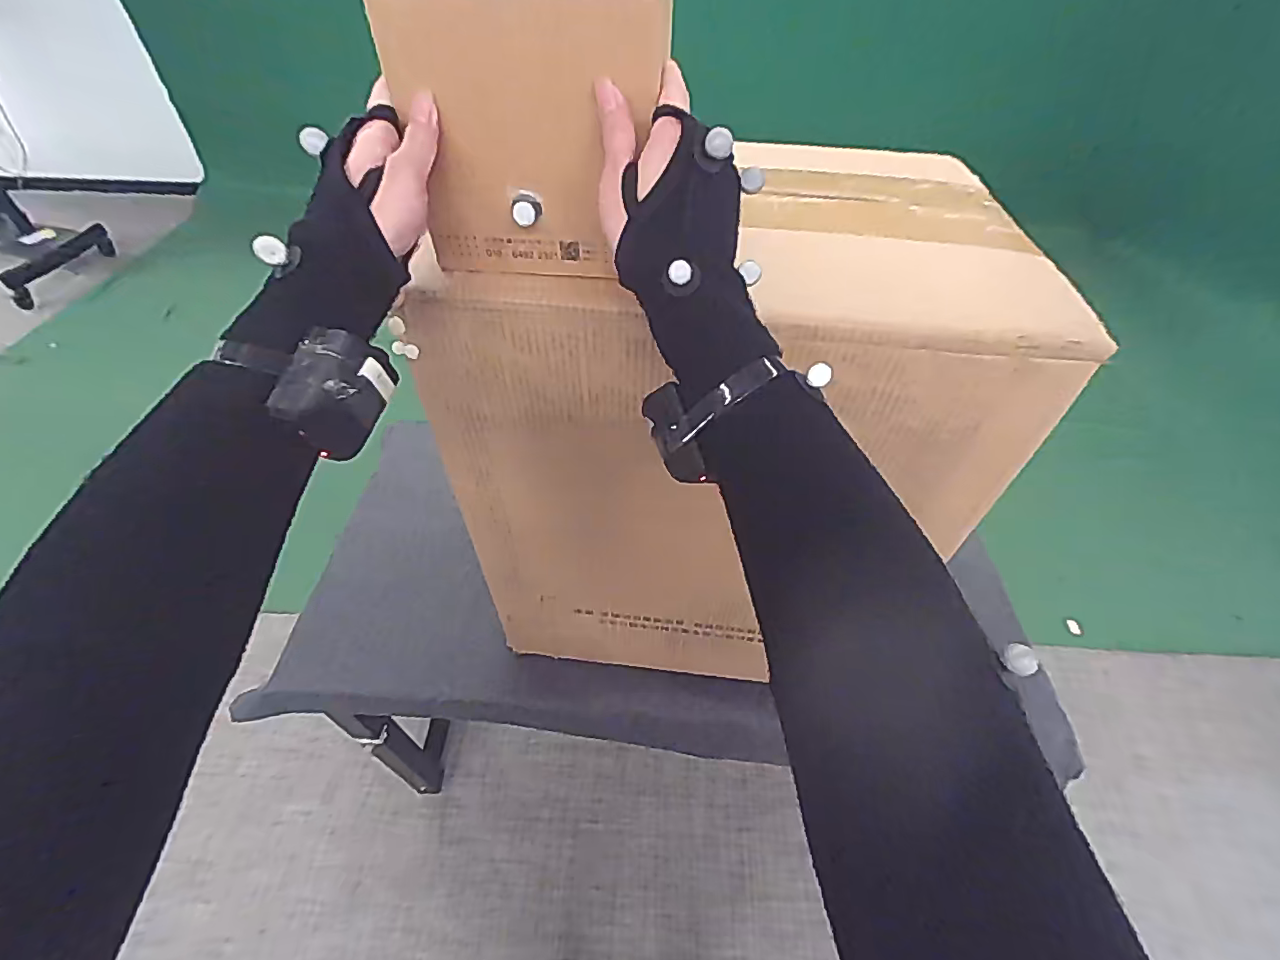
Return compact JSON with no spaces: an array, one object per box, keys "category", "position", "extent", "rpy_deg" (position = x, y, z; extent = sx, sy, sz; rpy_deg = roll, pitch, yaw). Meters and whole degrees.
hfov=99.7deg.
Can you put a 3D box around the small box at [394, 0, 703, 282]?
[{"category":"small box","position":[-0.047,-0.269,0.389],"extent":[0.168,0.176,0.179],"rpy_deg":[6,51,4]}]
